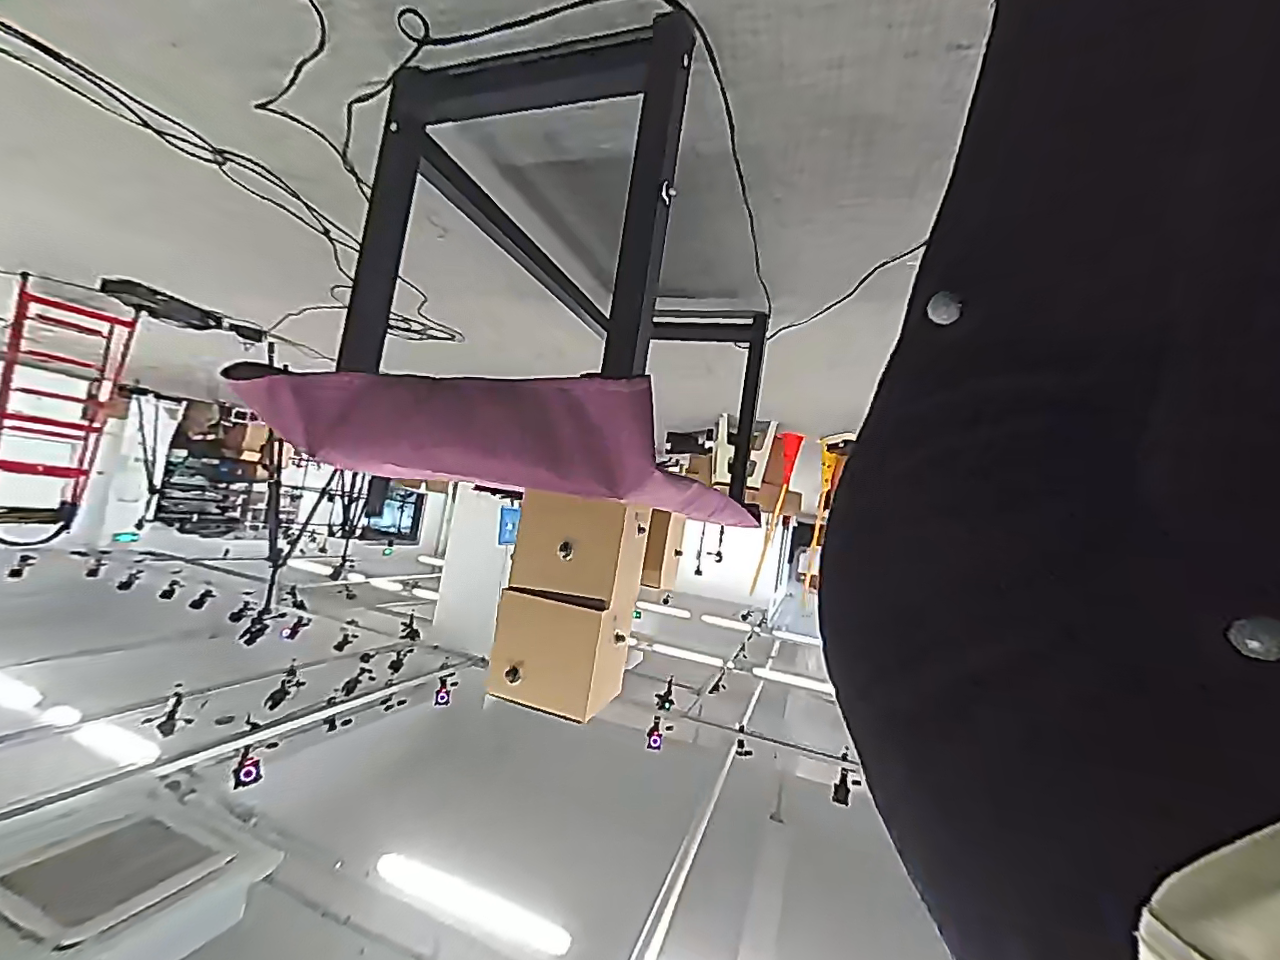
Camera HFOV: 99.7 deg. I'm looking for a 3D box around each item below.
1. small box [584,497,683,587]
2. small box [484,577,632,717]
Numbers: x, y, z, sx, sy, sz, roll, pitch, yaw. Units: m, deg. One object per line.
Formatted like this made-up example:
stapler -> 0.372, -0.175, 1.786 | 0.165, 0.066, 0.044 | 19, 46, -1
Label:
small box -> -0.006, 0.132, 1.215 | 0.179, 0.176, 0.168 | 10, 177, 16
small box -> -0.128, 0.262, 0.894 | 0.179, 0.176, 0.168 | 8, 178, 17
